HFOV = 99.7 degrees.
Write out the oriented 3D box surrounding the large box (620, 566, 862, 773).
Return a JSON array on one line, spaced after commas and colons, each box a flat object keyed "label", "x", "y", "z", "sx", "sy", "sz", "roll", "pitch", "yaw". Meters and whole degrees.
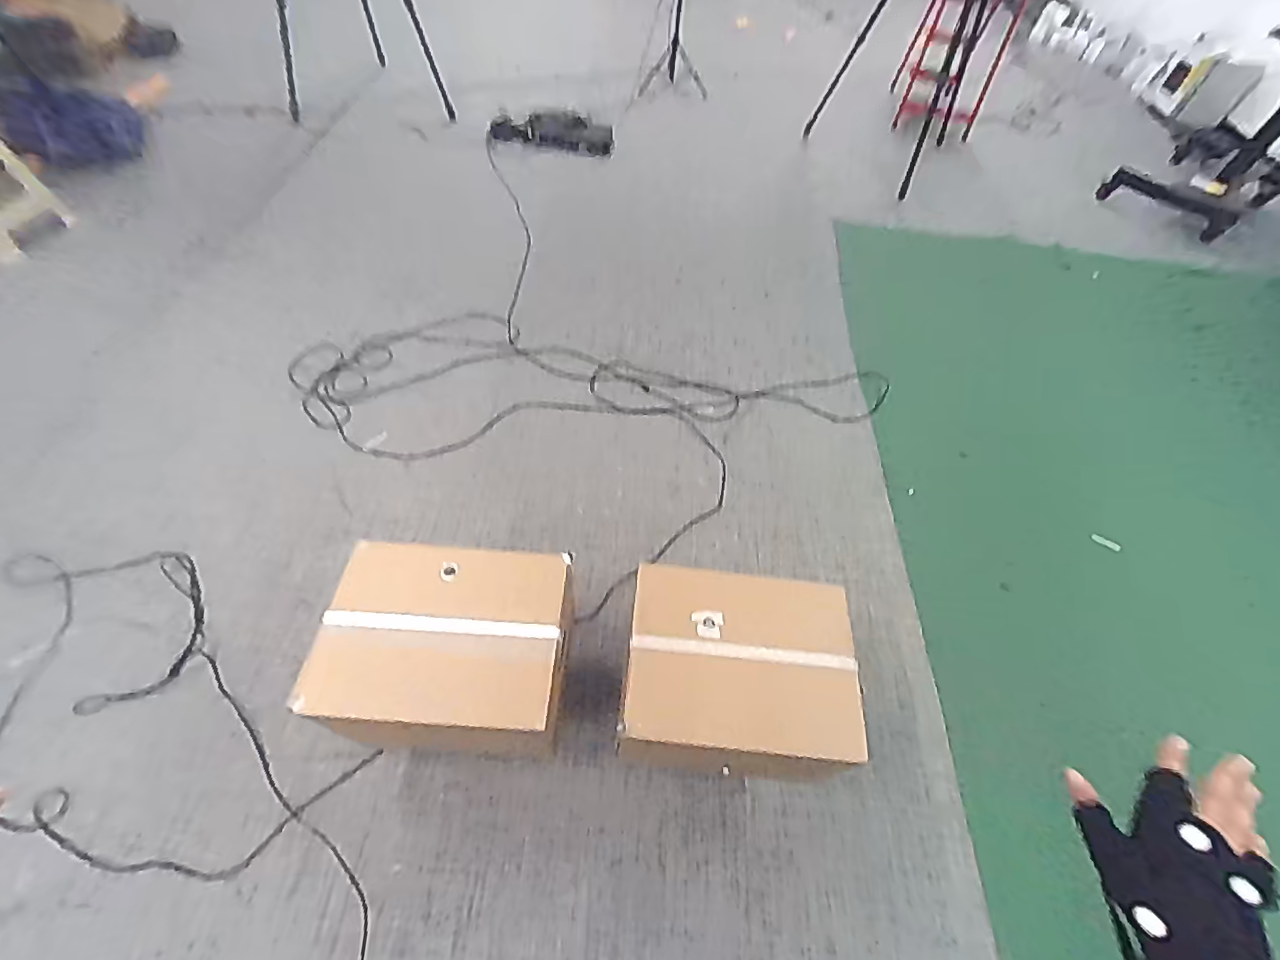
[{"label": "large box", "x": 0.179, "y": 0.397, "z": 1.102, "sx": 0.408, "sy": 0.320, "sz": 0.320, "roll": 7, "pitch": 55, "yaw": 0}]
